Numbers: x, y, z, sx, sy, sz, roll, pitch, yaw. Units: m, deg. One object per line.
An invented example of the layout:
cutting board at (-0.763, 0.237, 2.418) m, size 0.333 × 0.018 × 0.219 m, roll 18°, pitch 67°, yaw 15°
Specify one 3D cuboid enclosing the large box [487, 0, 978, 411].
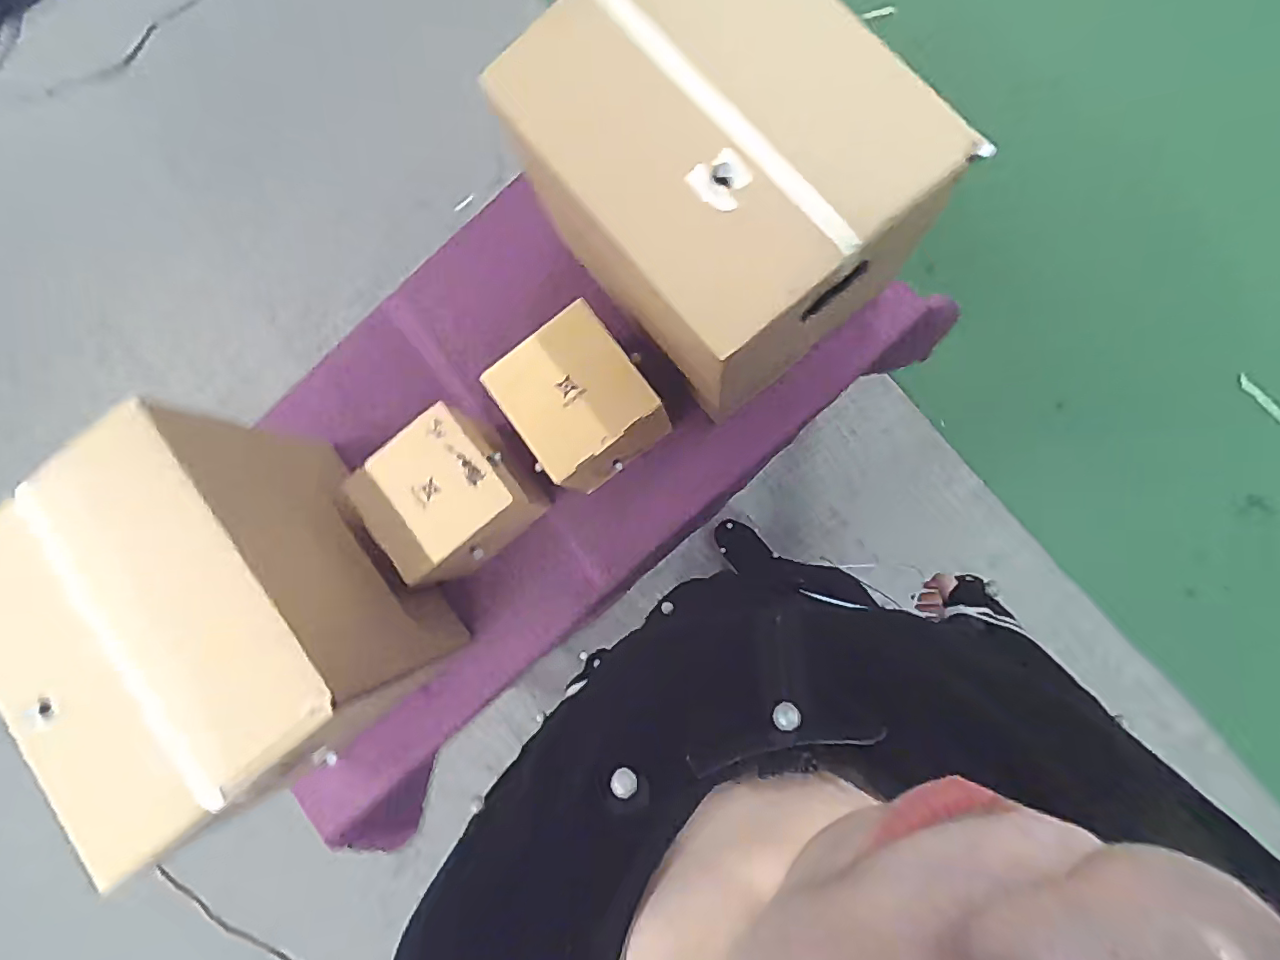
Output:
large box at (0.092, -0.358, 0.683) m, size 0.320 × 0.320 × 0.408 m, roll -39°, pitch 83°, yaw 2°
